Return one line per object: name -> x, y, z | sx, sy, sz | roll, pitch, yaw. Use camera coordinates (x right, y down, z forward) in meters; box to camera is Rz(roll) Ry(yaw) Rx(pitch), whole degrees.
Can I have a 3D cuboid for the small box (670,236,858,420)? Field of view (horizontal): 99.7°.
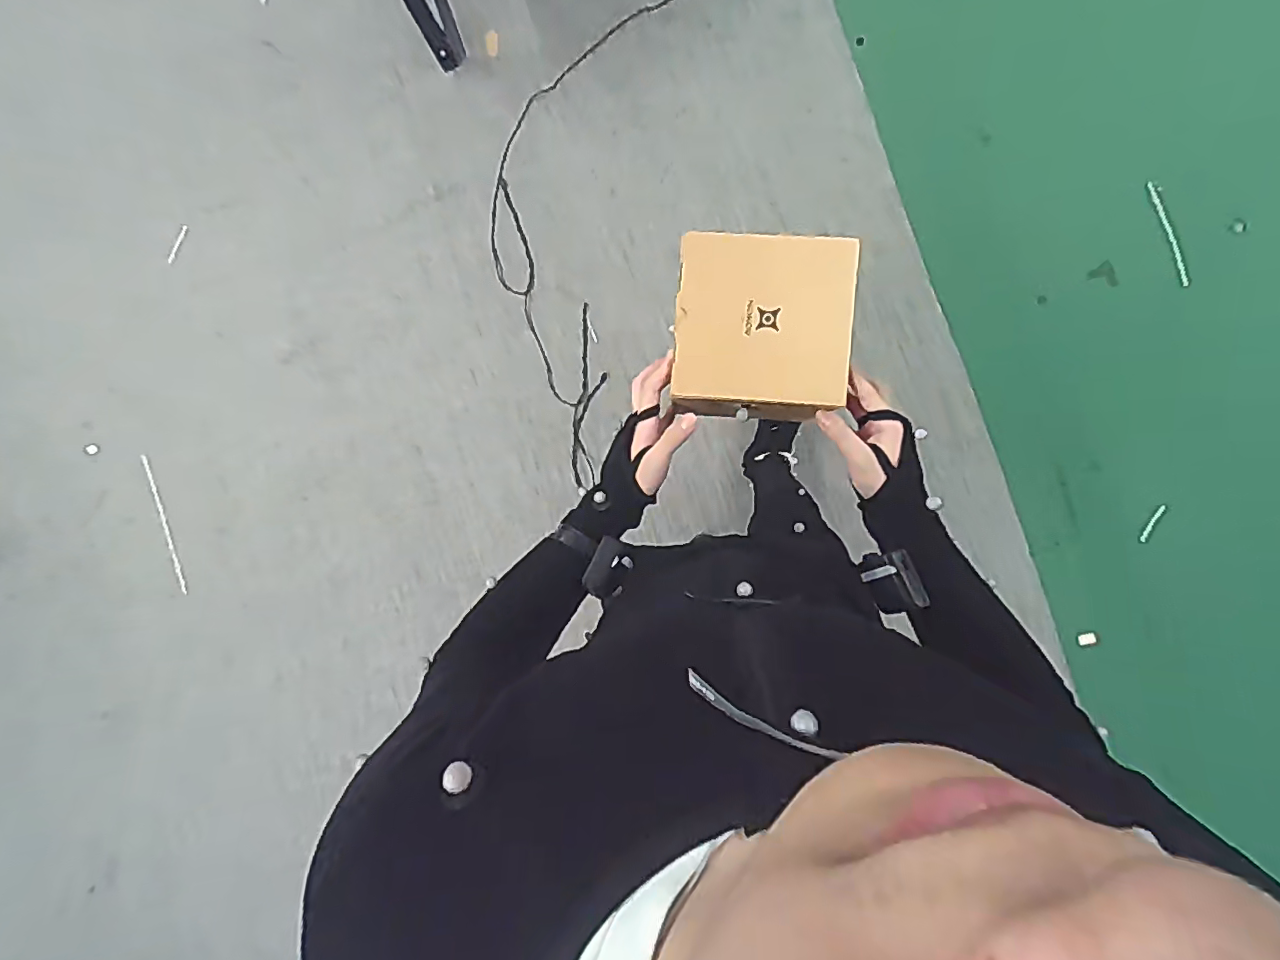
small box -> 0.130, -0.161, 0.620 | 0.179, 0.176, 0.168 | 4, 91, 6
